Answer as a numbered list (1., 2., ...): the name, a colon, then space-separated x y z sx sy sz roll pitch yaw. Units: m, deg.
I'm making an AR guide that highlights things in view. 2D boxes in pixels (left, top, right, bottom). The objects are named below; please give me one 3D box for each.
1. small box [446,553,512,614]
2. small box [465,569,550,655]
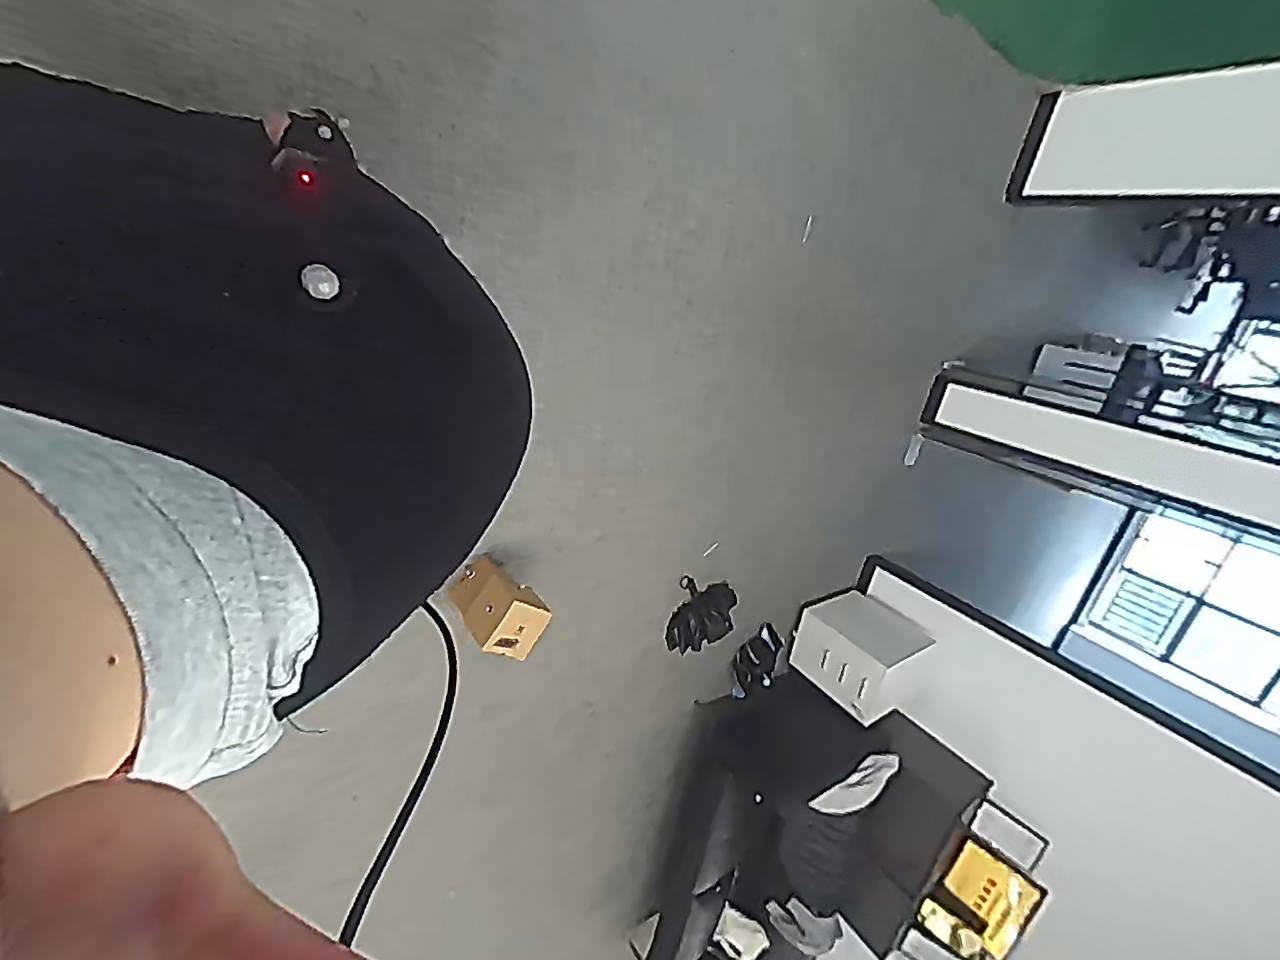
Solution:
1. small box: -0.517 0.373 1.822 0.168 0.176 0.179 -47 132 -10
2. small box: -0.422 0.411 1.690 0.168 0.176 0.179 35 88 -44
